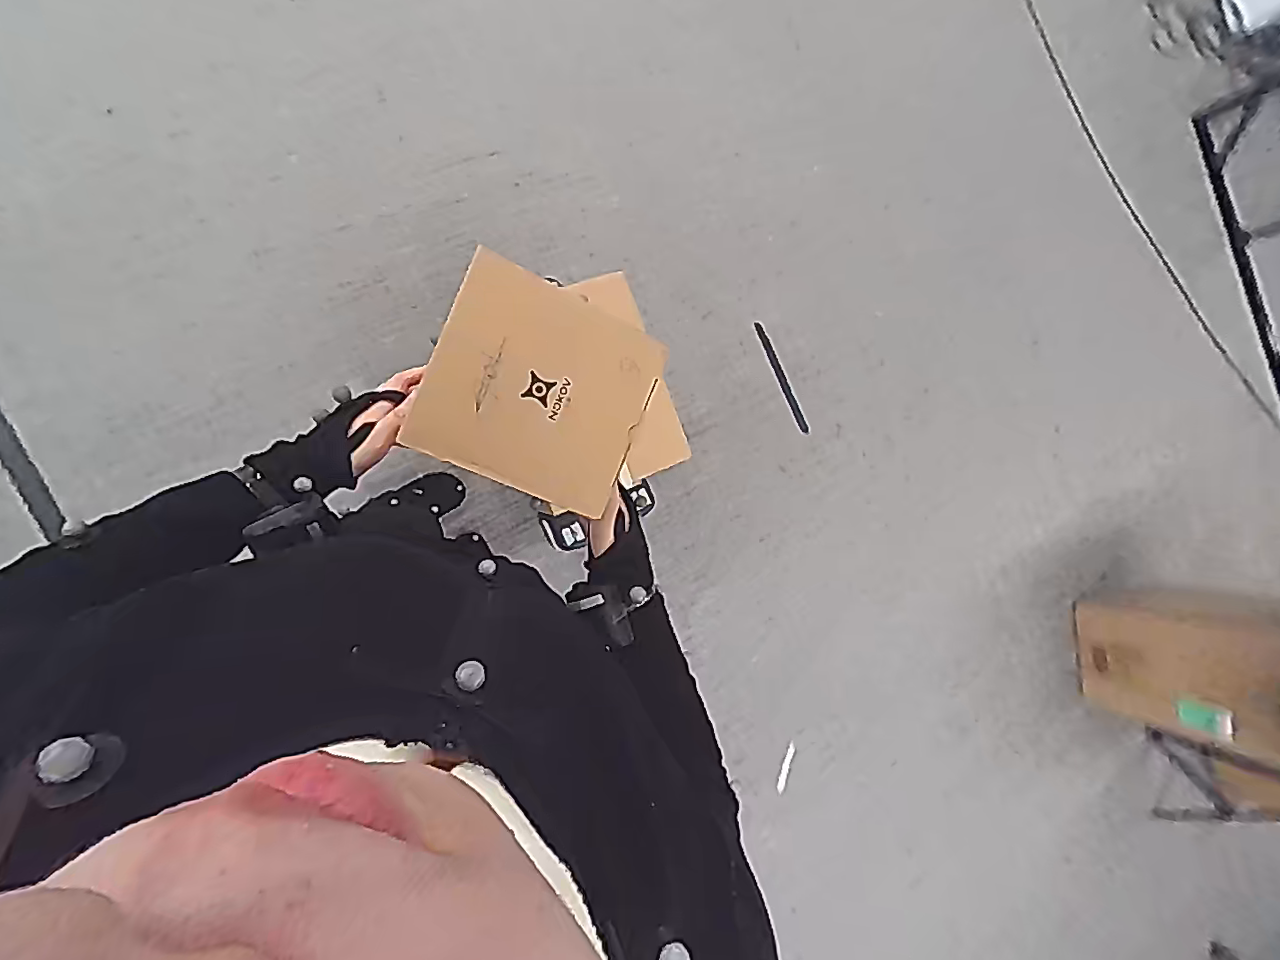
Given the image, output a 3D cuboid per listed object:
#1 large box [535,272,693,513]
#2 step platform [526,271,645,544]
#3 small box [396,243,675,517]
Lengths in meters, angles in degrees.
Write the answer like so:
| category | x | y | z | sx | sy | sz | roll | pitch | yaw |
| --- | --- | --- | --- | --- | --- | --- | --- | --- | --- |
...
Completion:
| category | x | y | z | sx | sy | sz | roll | pitch | yaw |
| --- | --- | --- | --- | --- | --- | --- | --- | --- | --- |
| large box | -0.138 | -0.170 | 1.187 | 0.320 | 0.320 | 0.408 | -23 | 95 | -17 |
| step platform | -0.226 | -0.180 | 1.410 | 0.286 | 0.204 | 0.684 | -20 | 94 | -17 |
| small box | -0.100 | -0.082 | 0.501 | 0.179 | 0.176 | 0.168 | 22 | 88 | -19 |
